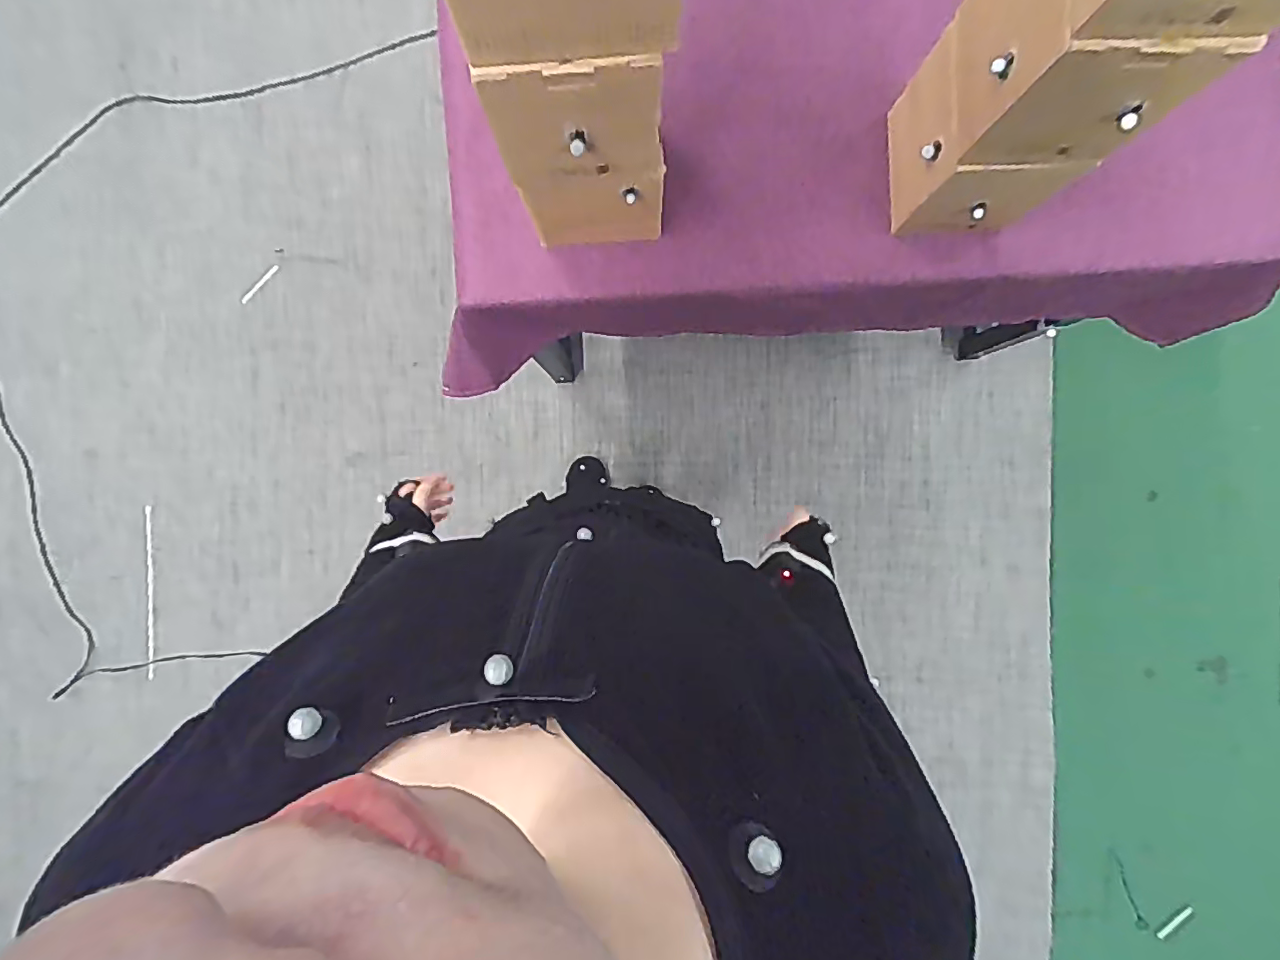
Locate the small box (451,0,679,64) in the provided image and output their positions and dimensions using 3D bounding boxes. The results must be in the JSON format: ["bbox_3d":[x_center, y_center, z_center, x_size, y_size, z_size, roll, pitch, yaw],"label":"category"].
[{"bbox_3d":[-0.059,-0.430,0.373,0.179,0.176,0.168,-4,89,-1],"label":"small box"}]

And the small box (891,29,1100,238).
[{"bbox_3d":[0.441,-0.429,0.695,0.168,0.176,0.179,-1,89,0],"label":"small box"}]

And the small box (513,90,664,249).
[{"bbox_3d":[-0.062,-0.418,0.702,0.179,0.176,0.168,-4,89,0],"label":"small box"}]

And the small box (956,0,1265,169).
[{"bbox_3d":[0.439,-0.435,0.532,0.168,0.176,0.179,1,89,0],"label":"small box"}]

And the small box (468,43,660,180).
[{"bbox_3d":[-0.068,-0.423,0.538,0.168,0.176,0.179,-5,89,0],"label":"small box"}]
